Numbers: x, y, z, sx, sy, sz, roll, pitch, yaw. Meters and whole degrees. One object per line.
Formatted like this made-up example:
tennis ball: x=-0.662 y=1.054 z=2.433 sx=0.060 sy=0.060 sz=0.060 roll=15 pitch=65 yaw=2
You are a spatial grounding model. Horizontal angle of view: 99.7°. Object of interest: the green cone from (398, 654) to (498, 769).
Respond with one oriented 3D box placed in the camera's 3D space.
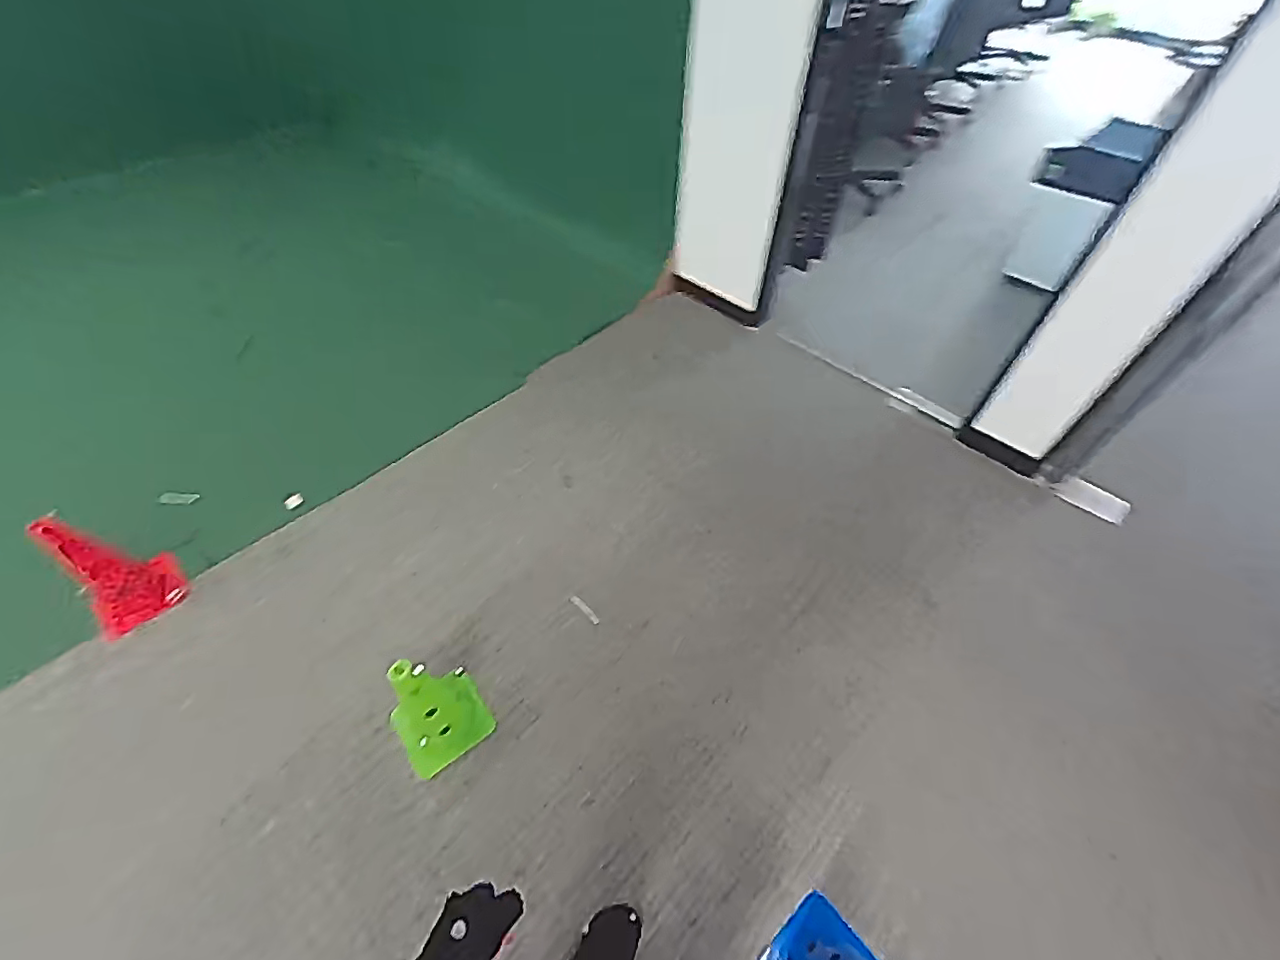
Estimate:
green cone: x=-0.483 y=0.482 z=1.235 sx=0.200 sy=0.368 sz=0.202 roll=-31 pitch=59 yaw=-24
